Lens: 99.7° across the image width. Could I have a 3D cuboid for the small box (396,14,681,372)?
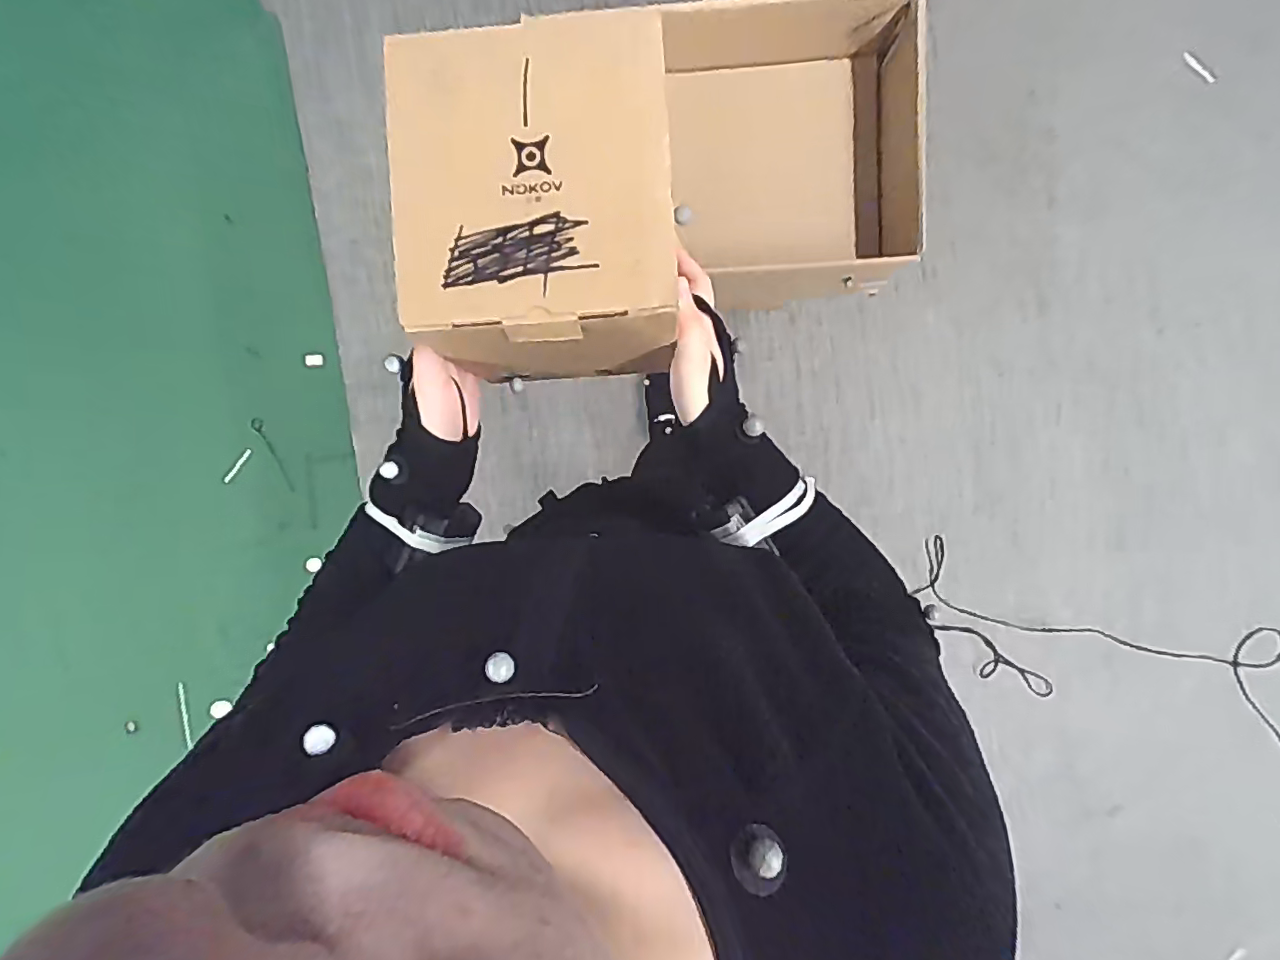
[{"bbox_3d":[-0.057,-0.182,0.398,0.168,0.176,0.179,-4,88,1],"label":"small box"}]
